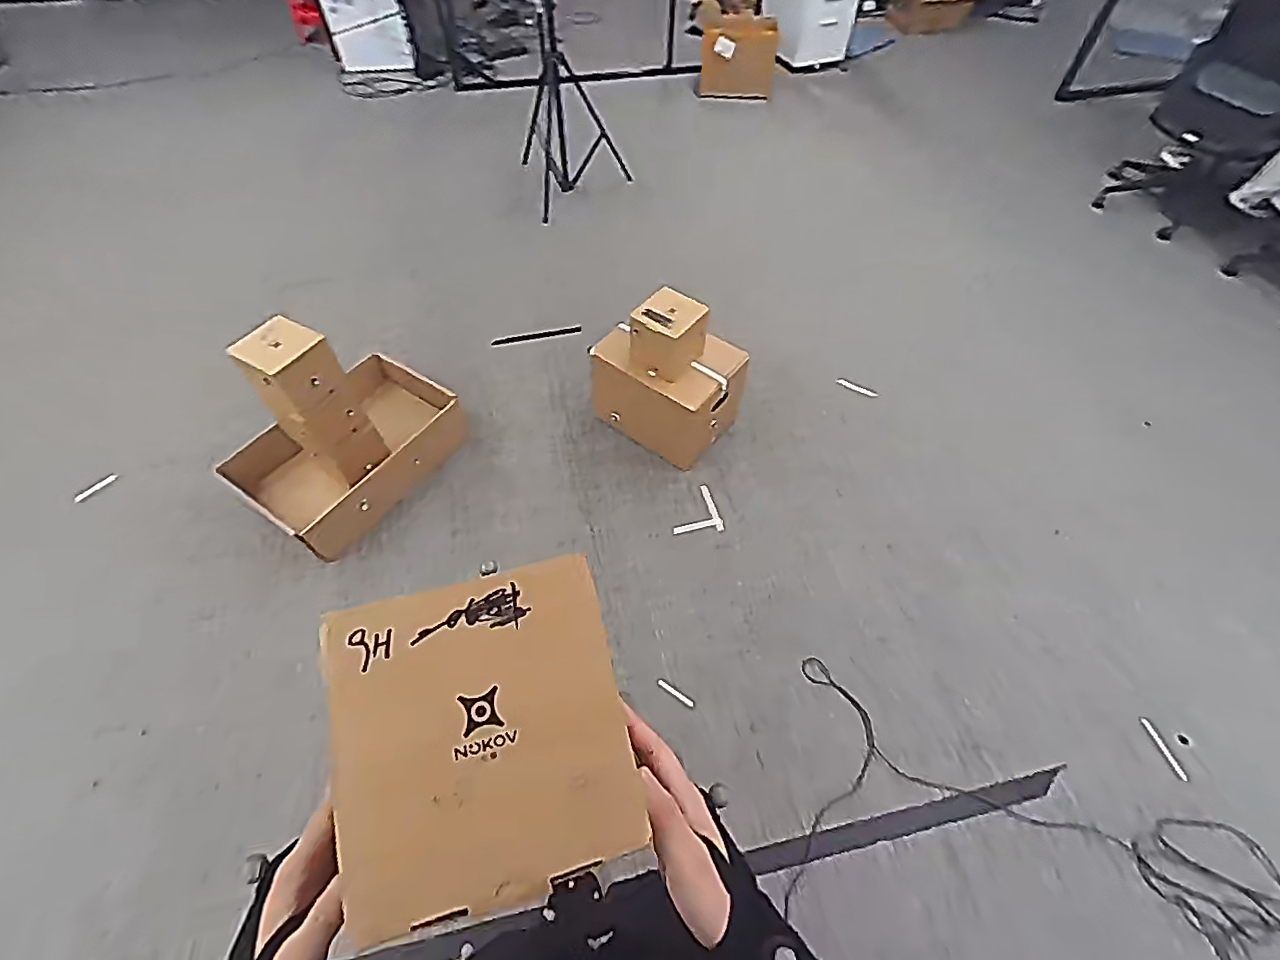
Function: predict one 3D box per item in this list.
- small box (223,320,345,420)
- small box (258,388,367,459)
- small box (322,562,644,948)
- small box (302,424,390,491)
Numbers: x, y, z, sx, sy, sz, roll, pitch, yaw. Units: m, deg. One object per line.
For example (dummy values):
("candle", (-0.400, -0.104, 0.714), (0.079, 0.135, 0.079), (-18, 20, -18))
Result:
("small box", (-0.924, -0.282, 1.423), (0.179, 0.176, 0.168), (24, 57, 15))
("small box", (-0.930, -0.184, 1.556), (0.179, 0.176, 0.168), (24, 57, 16))
("small box", (-0.103, 0.173, 0.393), (0.168, 0.176, 0.179), (-12, 73, -12))
("small box", (-0.927, -0.095, 1.691), (0.179, 0.176, 0.168), (29, 60, 17))
